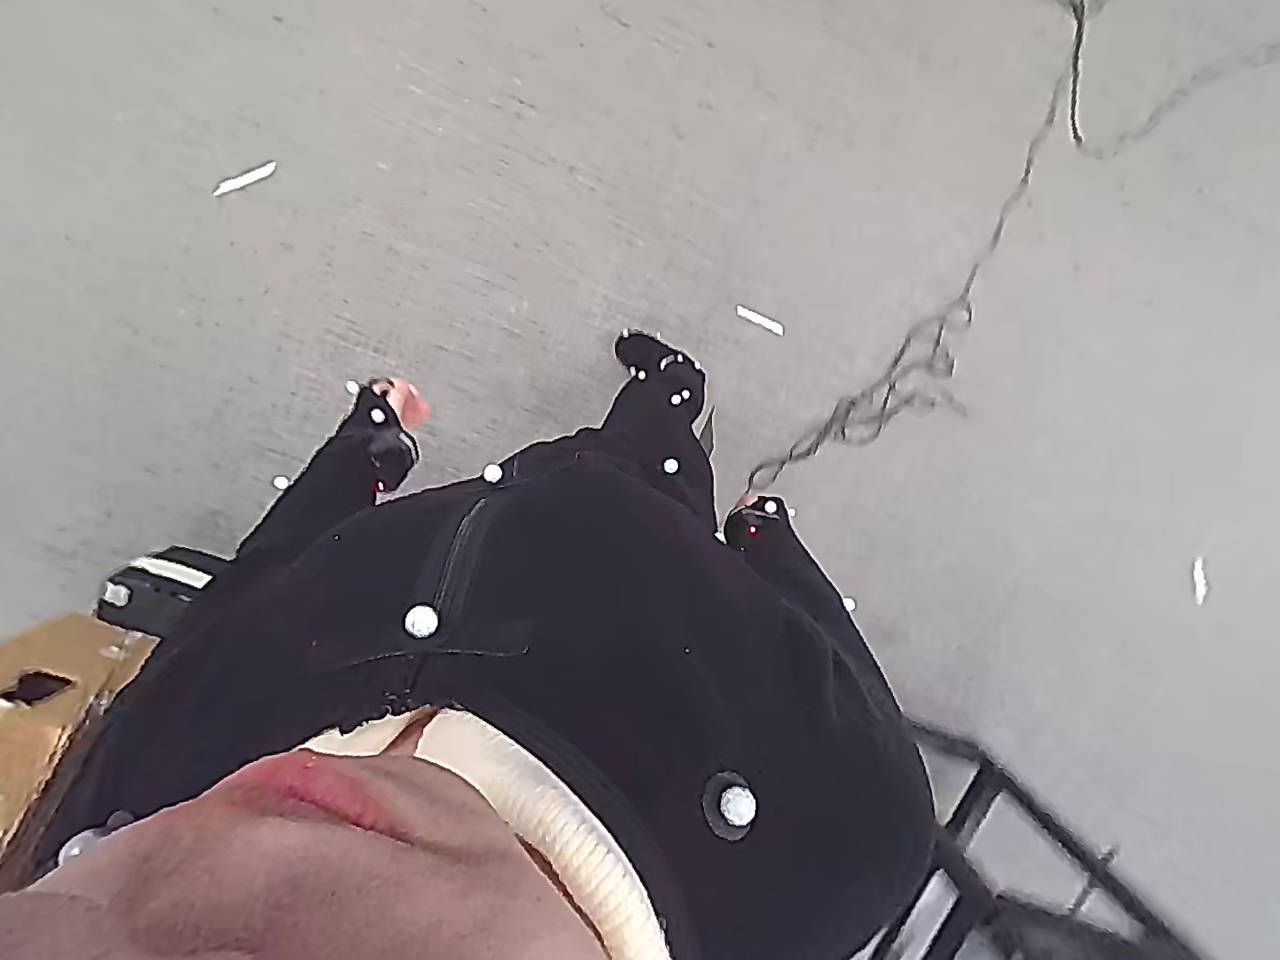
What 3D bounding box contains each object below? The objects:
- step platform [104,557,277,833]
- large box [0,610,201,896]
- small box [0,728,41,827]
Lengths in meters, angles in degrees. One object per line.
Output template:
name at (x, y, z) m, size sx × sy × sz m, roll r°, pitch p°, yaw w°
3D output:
step platform at (-1.258, 0.556, 1.406) m, size 0.286 × 0.204 × 0.684 m, roll 29°, pitch 97°, yaw -8°
large box at (-1.254, 0.559, 1.165) m, size 0.320 × 0.320 × 0.408 m, roll 24°, pitch 98°, yaw -6°
small box at (-1.196, 0.532, 0.916) m, size 0.168 × 0.176 × 0.179 m, roll 24°, pitch 98°, yaw -7°
